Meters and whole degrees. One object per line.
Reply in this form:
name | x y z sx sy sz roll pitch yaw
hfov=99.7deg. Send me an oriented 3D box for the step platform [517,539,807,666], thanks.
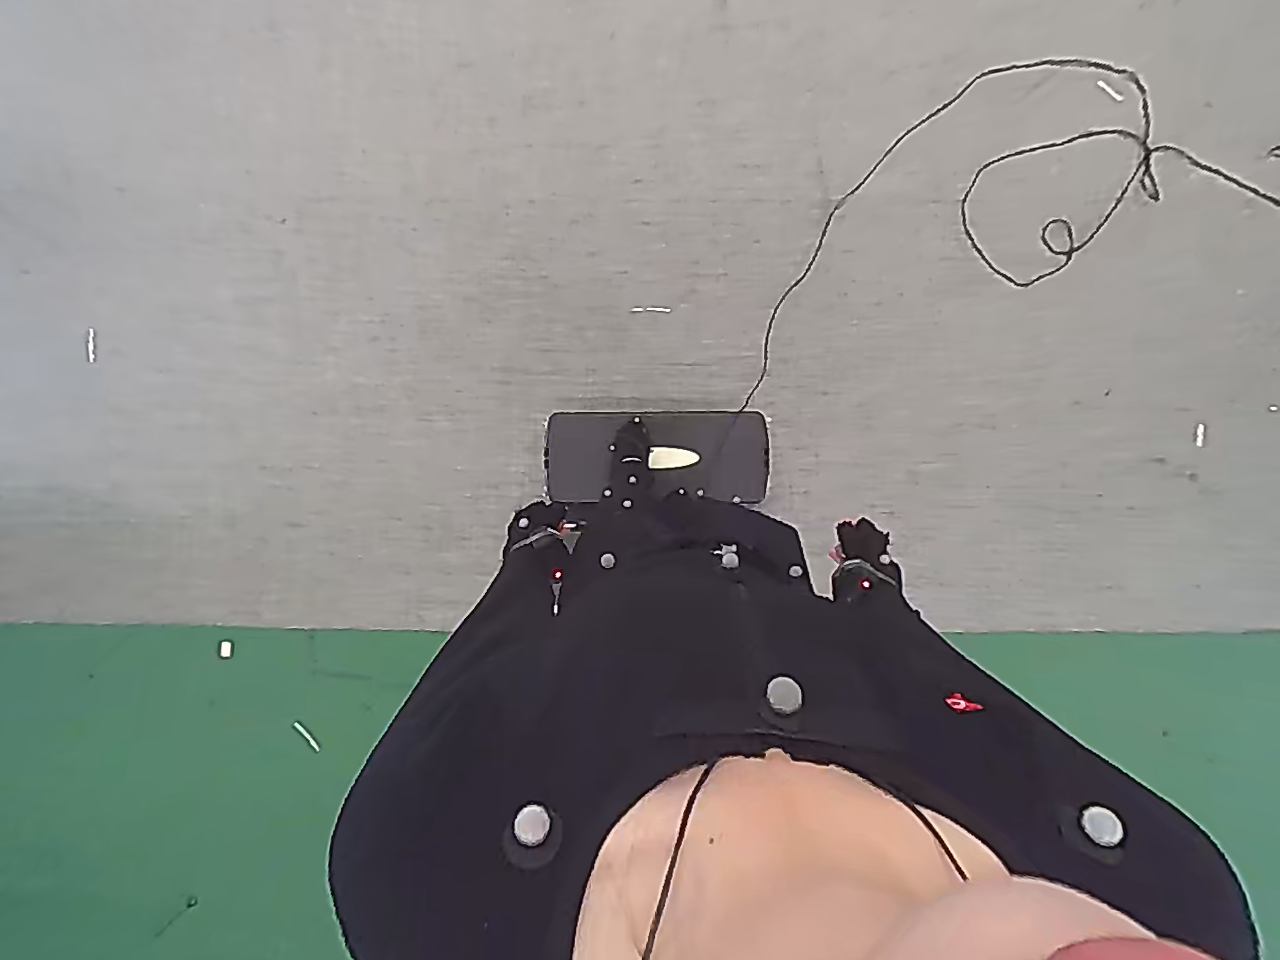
step platform | 0.051 0.296 1.360 0.684 0.204 0.286 0 90 -1
